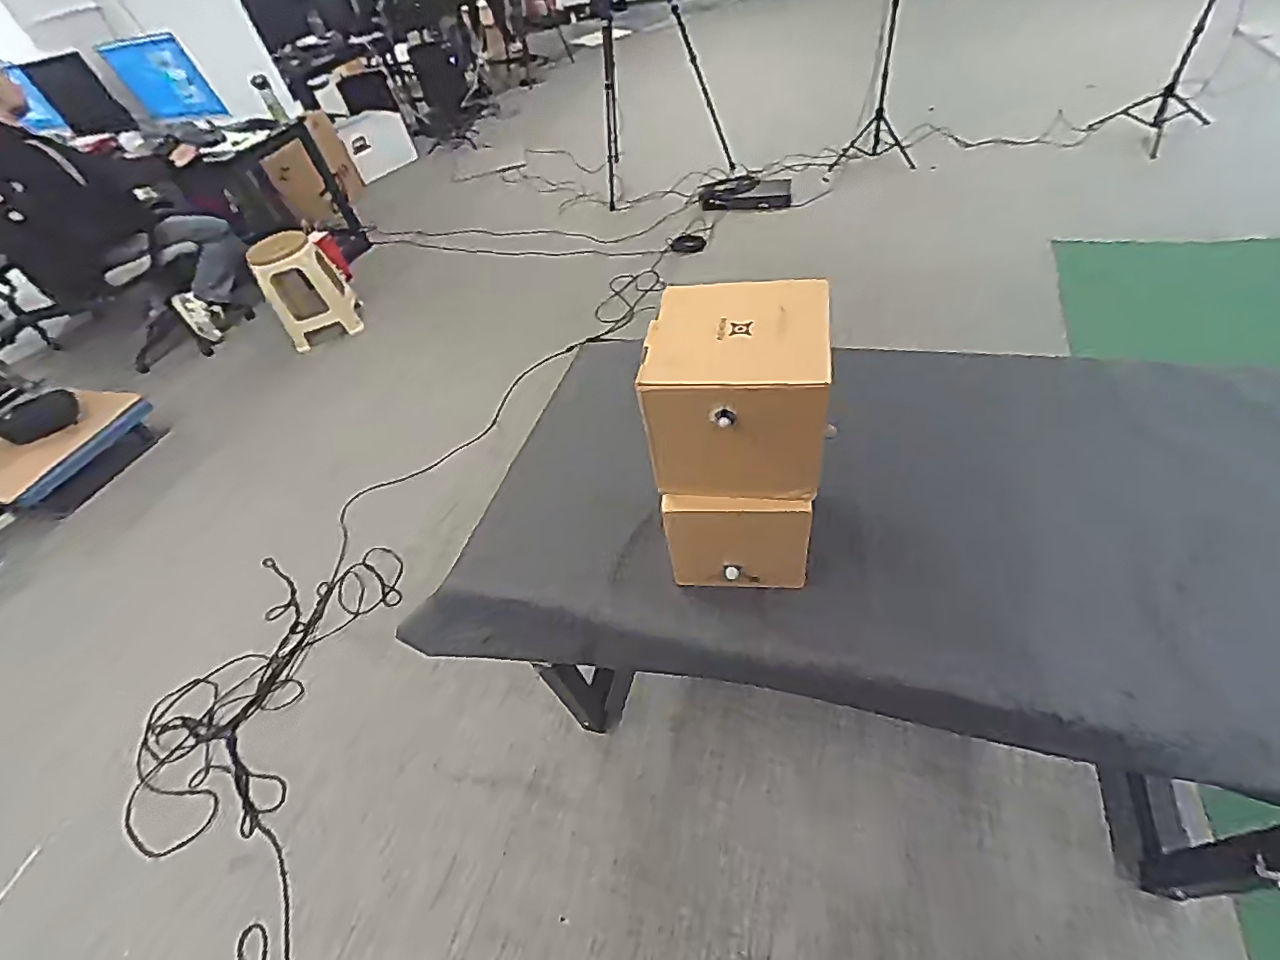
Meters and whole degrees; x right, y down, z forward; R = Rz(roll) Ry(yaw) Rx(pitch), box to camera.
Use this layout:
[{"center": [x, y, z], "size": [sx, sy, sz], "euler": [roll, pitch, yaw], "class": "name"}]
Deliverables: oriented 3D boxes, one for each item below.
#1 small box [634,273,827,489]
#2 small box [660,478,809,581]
[{"center": [0.106, -0.104, 0.593], "size": [0.179, 0.176, 0.168], "euler": [3, 52, 14], "class": "small box"}, {"center": [0.124, 0.012, 0.707], "size": [0.168, 0.176, 0.179], "euler": [-1, 51, 12], "class": "small box"}]
